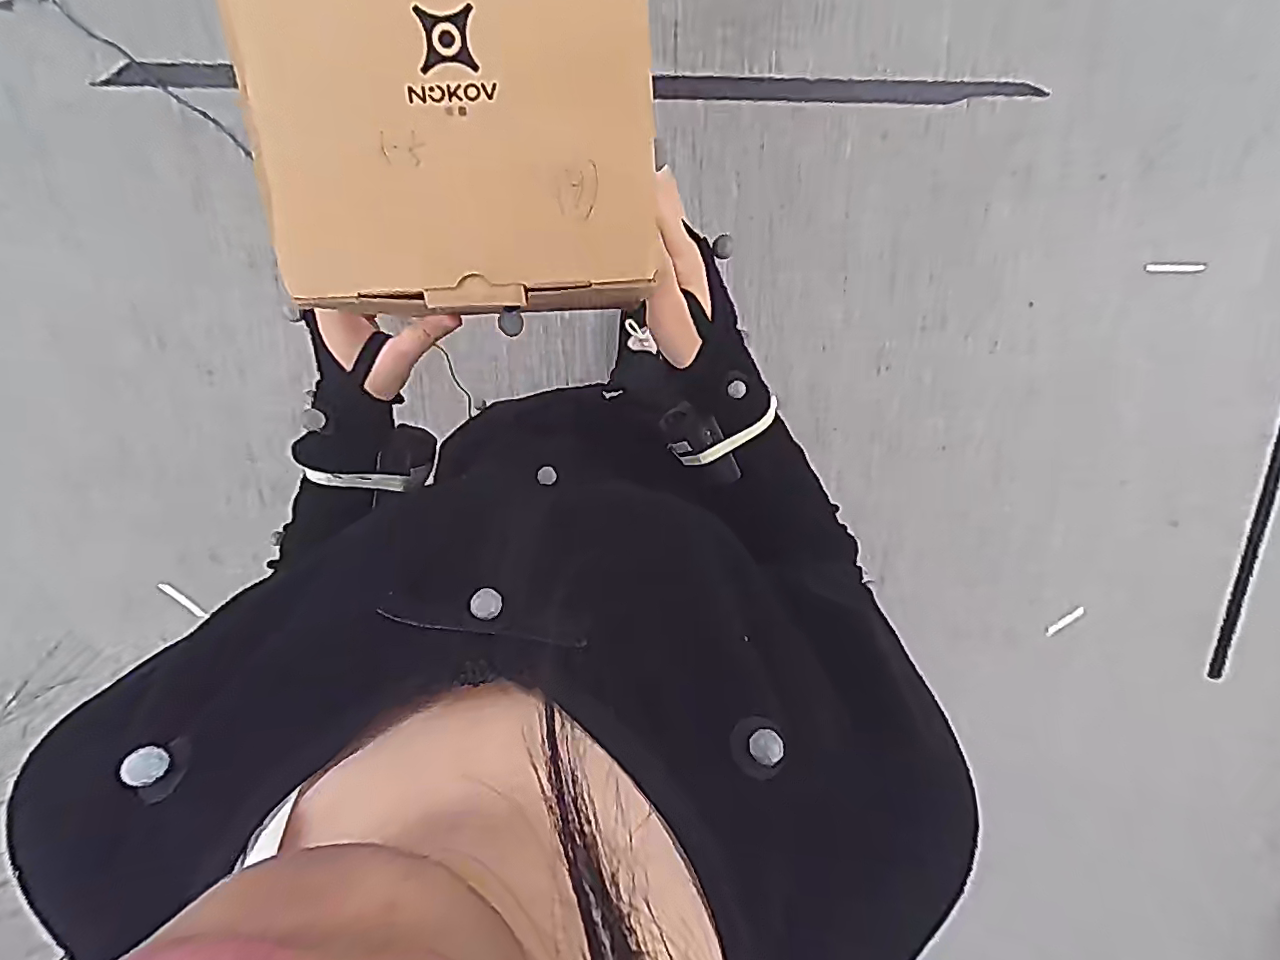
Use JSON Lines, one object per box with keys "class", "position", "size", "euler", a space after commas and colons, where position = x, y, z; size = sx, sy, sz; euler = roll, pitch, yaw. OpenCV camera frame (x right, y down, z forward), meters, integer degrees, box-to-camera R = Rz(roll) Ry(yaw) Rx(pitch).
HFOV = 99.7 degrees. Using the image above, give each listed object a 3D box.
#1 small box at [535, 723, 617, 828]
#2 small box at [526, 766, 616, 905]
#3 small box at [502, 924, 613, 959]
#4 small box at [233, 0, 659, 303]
{"class": "small box", "position": [-0.143, 0.694, 1.270], "size": [0.179, 0.176, 0.168], "euler": [-2, 103, 0]}
{"class": "small box", "position": [-0.134, 0.723, 1.111], "size": [0.168, 0.176, 0.179], "euler": [-1, 102, -2]}
{"class": "small box", "position": [-0.125, 0.794, 0.790], "size": [0.168, 0.176, 0.179], "euler": [1, 103, -2]}
{"class": "small box", "position": [-0.078, -0.191, 0.294], "size": [0.168, 0.176, 0.179], "euler": [-3, 106, -3]}
